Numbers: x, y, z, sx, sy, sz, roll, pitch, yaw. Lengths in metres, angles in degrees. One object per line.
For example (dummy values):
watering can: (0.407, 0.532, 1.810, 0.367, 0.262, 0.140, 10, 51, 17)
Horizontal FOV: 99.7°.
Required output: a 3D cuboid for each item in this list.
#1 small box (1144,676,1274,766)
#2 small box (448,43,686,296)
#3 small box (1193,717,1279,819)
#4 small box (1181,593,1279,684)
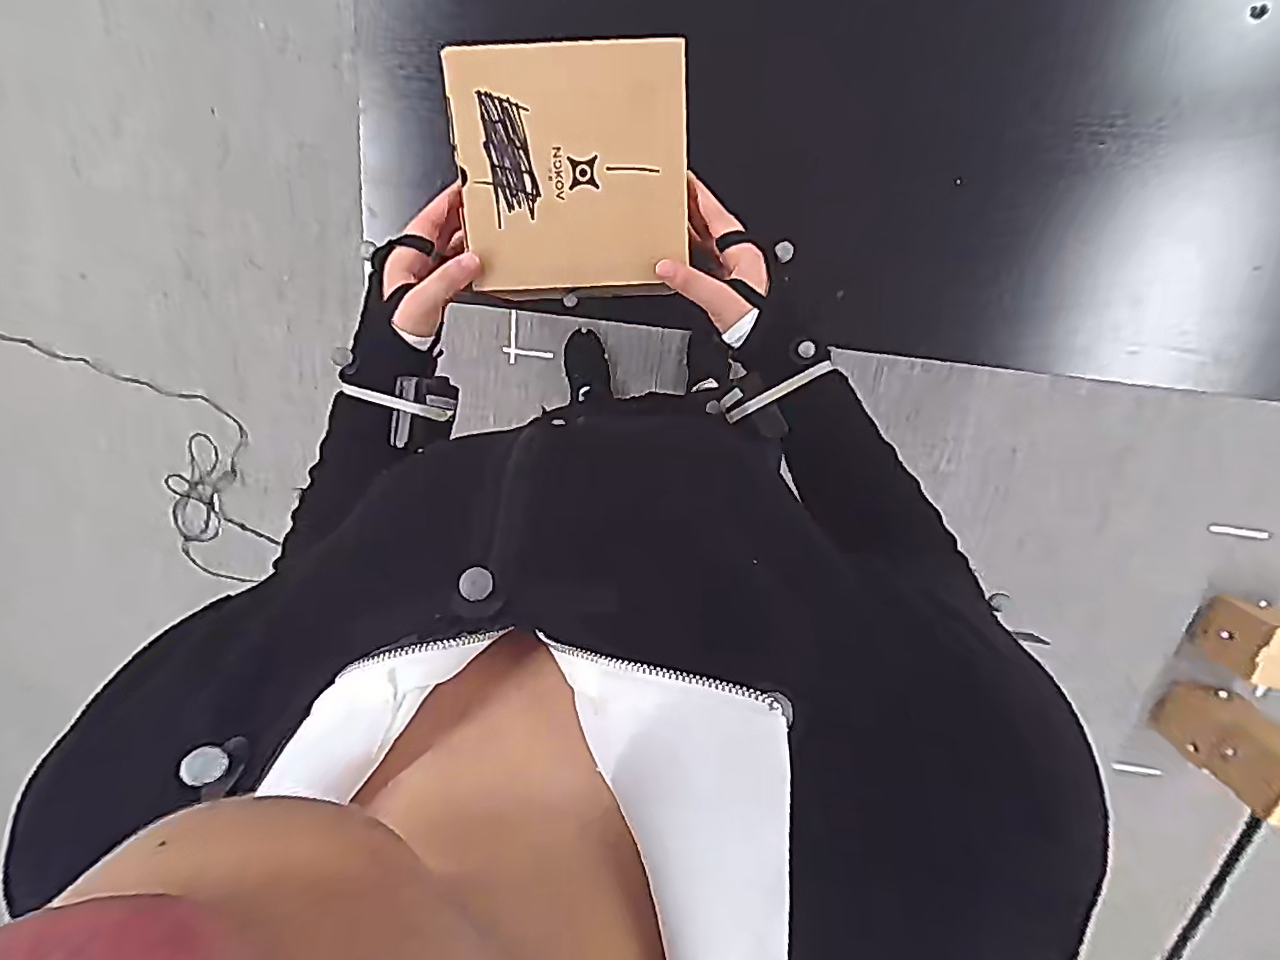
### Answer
small box: (1.616, 0.696, 1.552, 0.168, 0.176, 0.179, 7, 108, 2)
small box: (-0.053, -0.258, 0.490, 0.179, 0.176, 0.168, -2, 107, -1)
small box: (1.619, 0.743, 1.395, 0.179, 0.176, 0.168, 9, 107, 2)
small box: (1.648, 0.424, 1.463, 0.179, 0.176, 0.168, 10, 108, 1)
